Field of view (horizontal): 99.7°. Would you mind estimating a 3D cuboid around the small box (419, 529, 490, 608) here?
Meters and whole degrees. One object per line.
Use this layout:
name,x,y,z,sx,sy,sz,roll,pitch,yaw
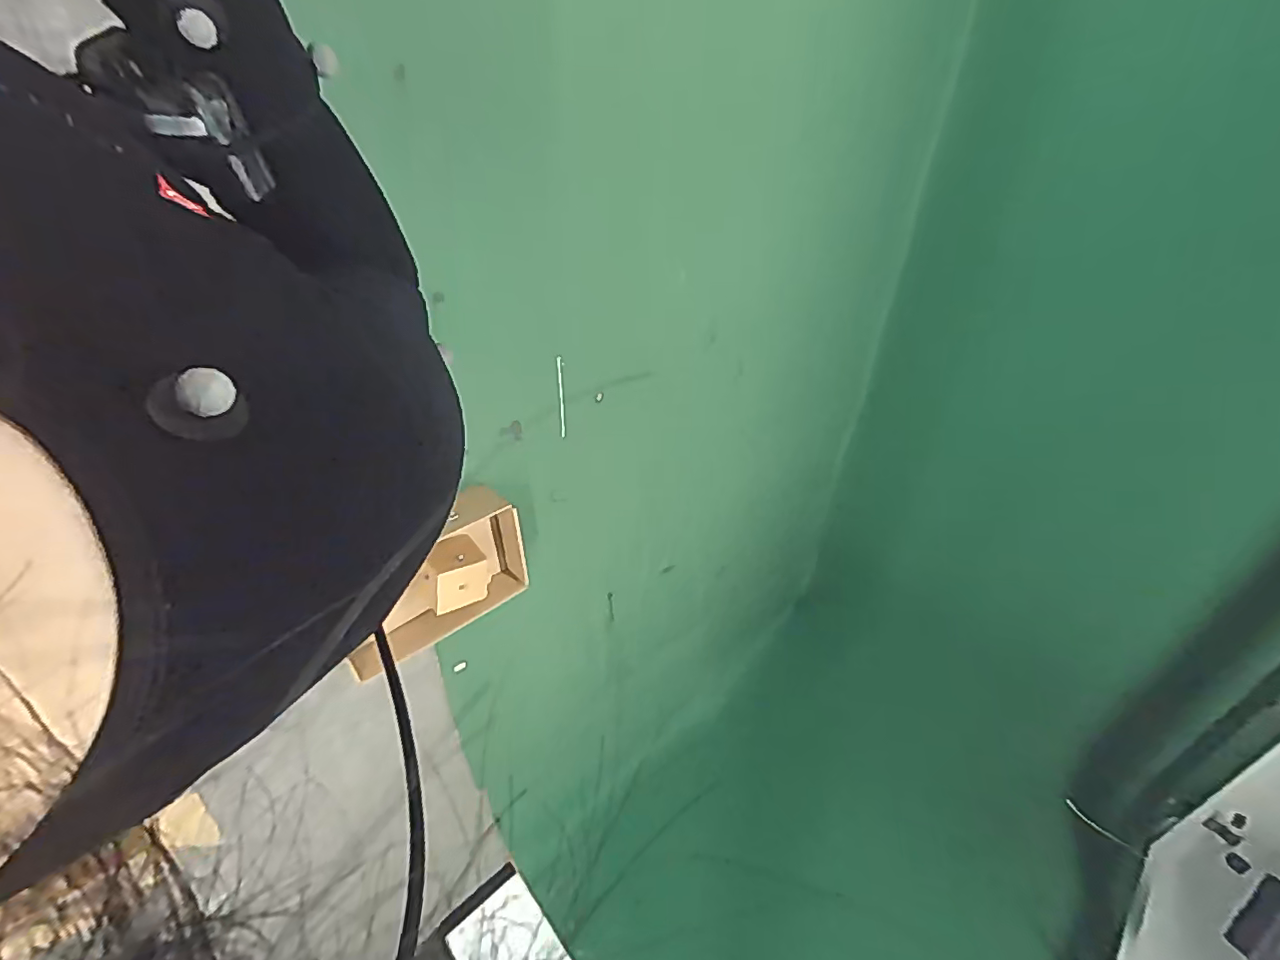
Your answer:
small box,-0.618,0.286,1.789,0.179,0.176,0.168,-15,128,-40
